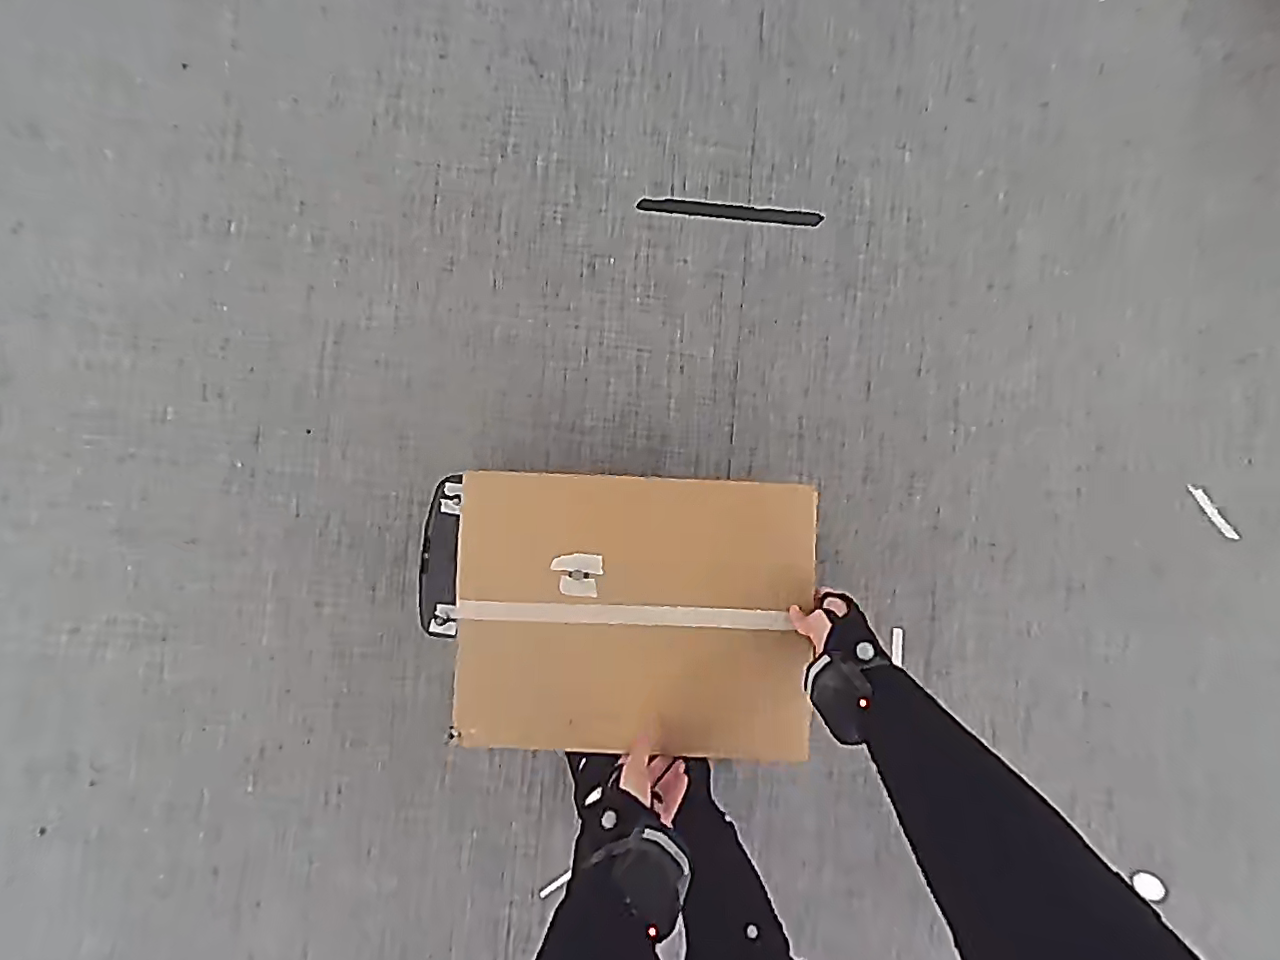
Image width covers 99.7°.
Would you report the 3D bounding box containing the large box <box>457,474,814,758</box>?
[{"bbox_3d":[-0.001,0.155,0.757,0.408,0.320,0.320,2,88,1],"label":"large box"}]
